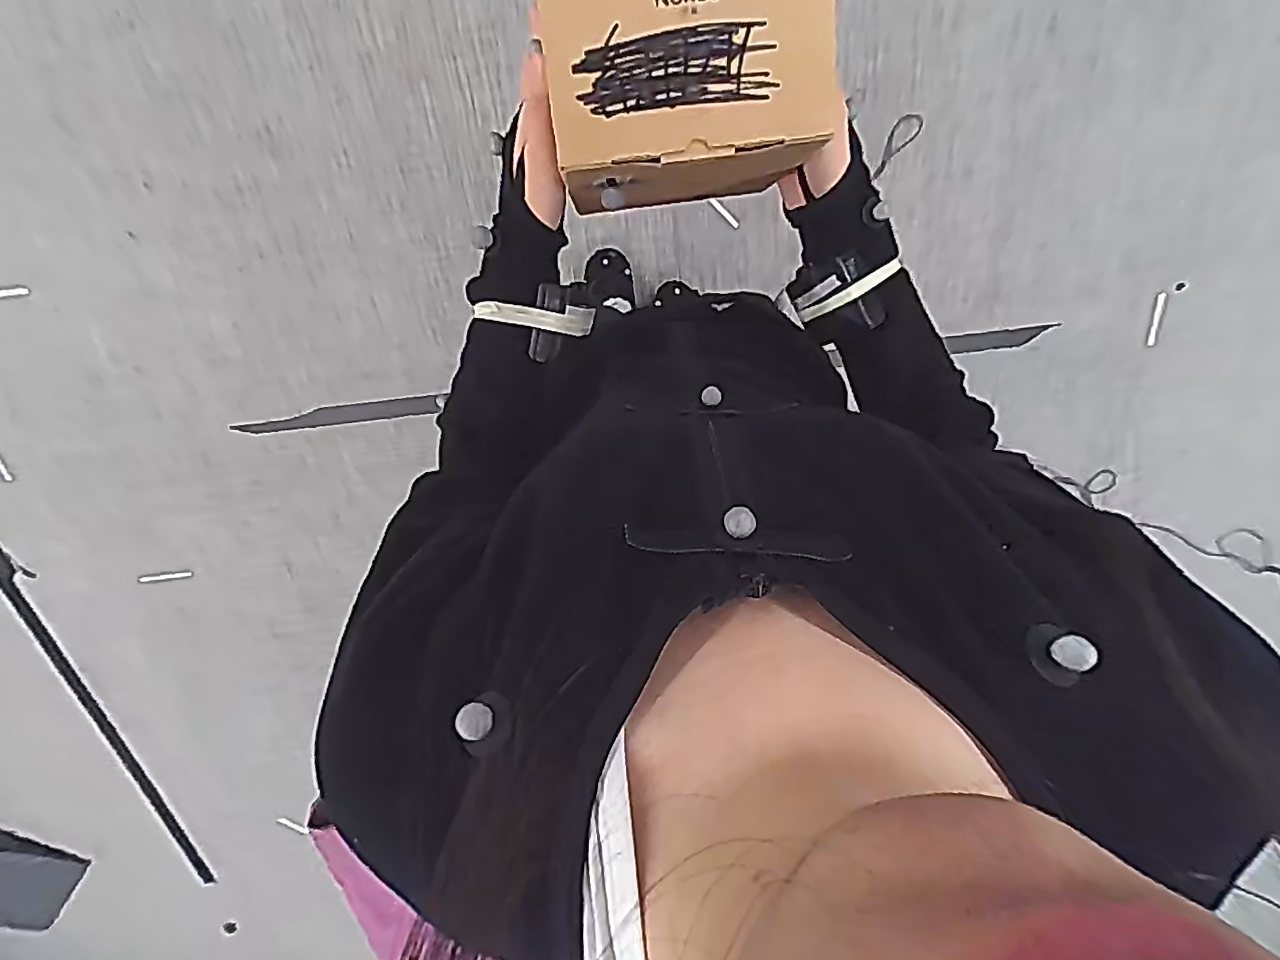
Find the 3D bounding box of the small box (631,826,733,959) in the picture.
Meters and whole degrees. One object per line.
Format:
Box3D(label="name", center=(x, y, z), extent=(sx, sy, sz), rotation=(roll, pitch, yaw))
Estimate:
Box3D(label="small box", center=(0.074, 0.785, 1.005), extent=(0.168, 0.176, 0.179), rotation=(-6, 113, -2))
